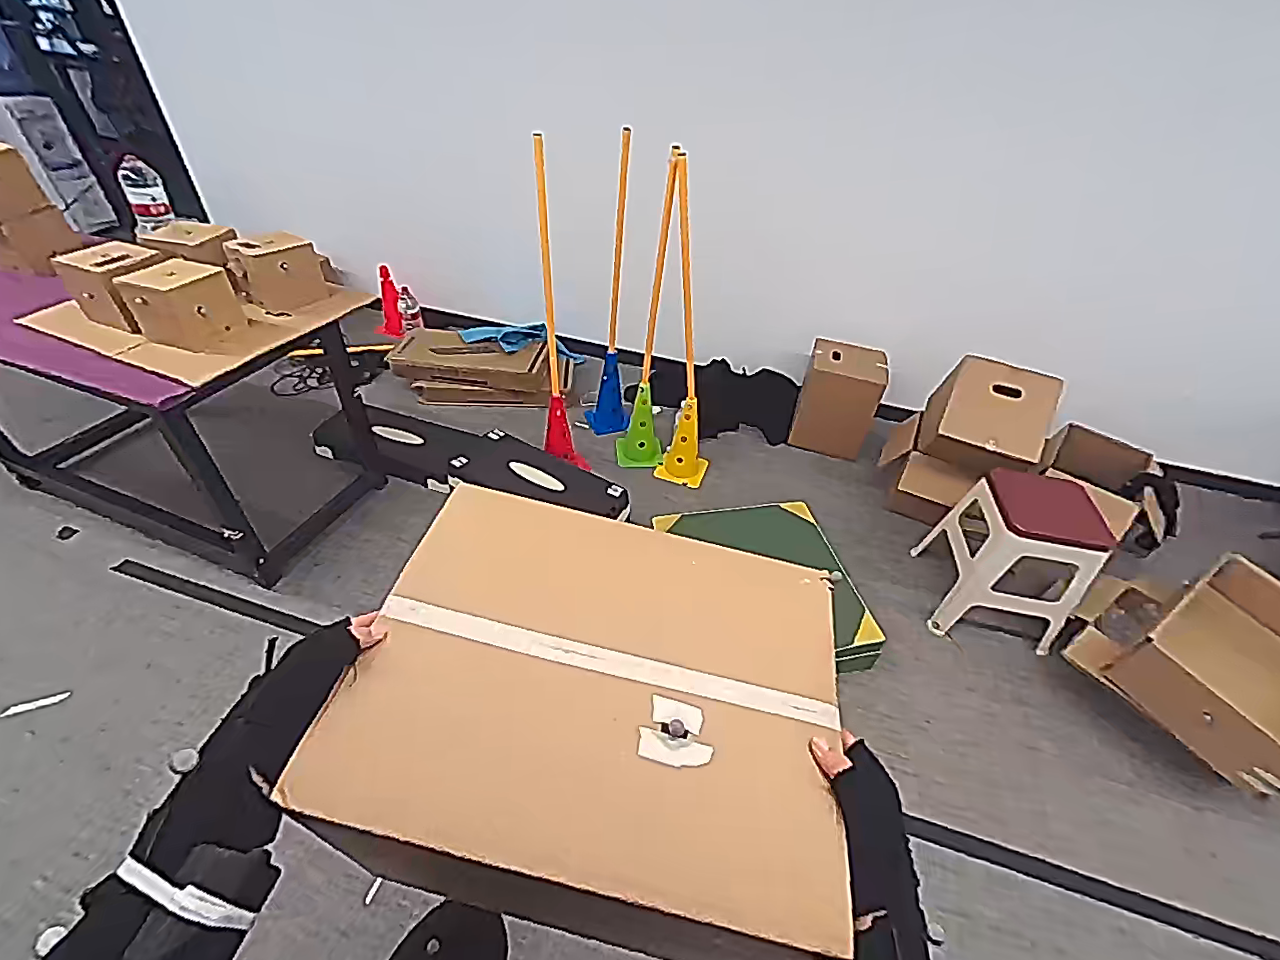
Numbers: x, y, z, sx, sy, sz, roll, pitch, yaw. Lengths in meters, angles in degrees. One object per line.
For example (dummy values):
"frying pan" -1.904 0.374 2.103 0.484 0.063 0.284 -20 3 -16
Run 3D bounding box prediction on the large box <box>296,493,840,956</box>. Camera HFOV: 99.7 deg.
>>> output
"large box" -0.050 0.264 0.586 0.408 0.320 0.320 14 47 2
